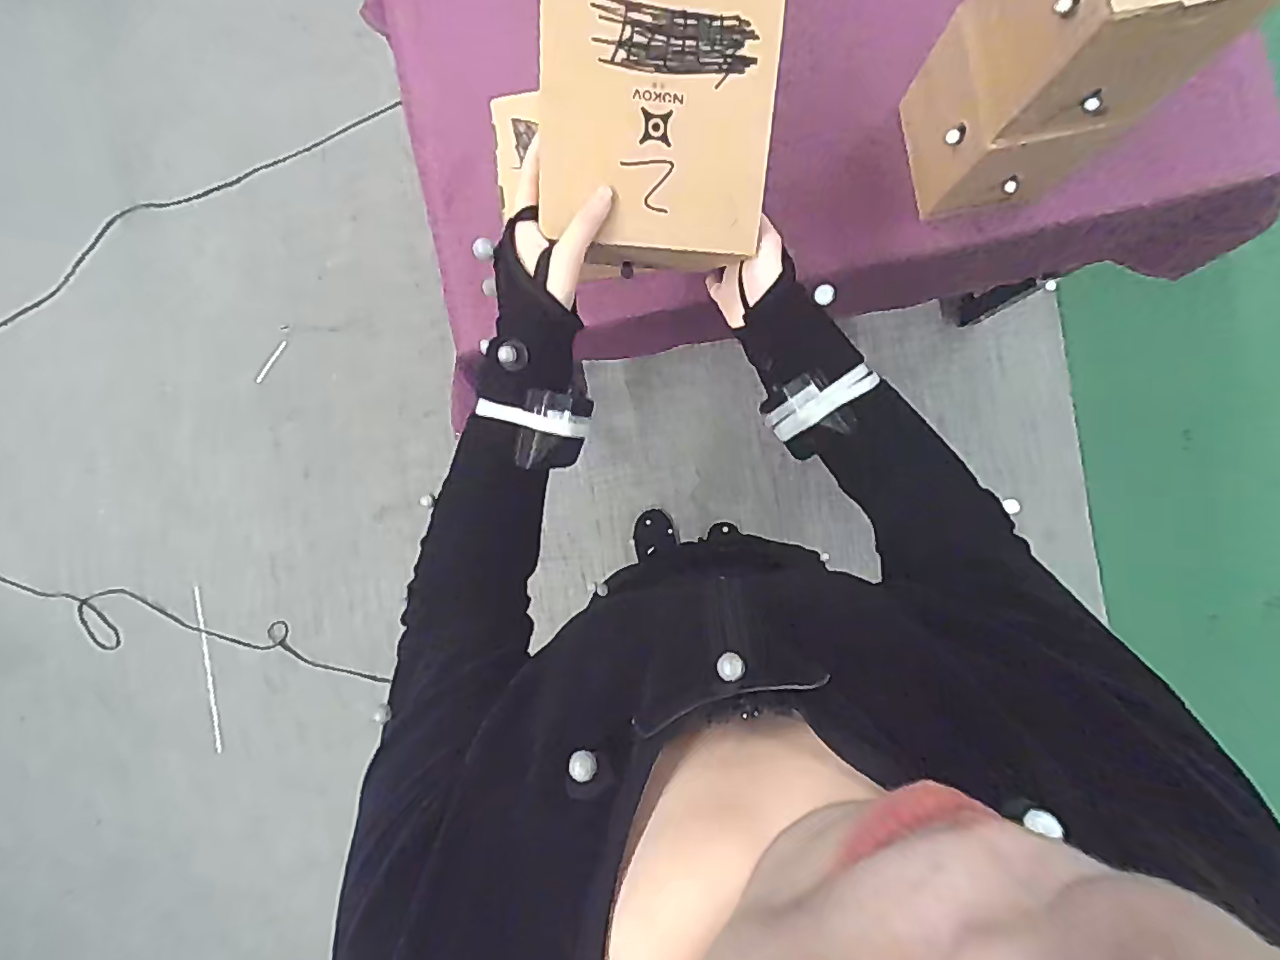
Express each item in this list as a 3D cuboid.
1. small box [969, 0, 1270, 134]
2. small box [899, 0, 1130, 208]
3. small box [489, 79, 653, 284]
[{"bbox_3d":[0.454,-0.485,0.526,0.168,0.176,0.179,-10,90,3],"label":"small box"},{"bbox_3d":[0.458,-0.474,0.689,0.168,0.176,0.179,-10,88,2],"label":"small box"},{"bbox_3d":[-0.080,-0.376,0.714,0.179,0.176,0.168,-8,89,2],"label":"small box"}]
